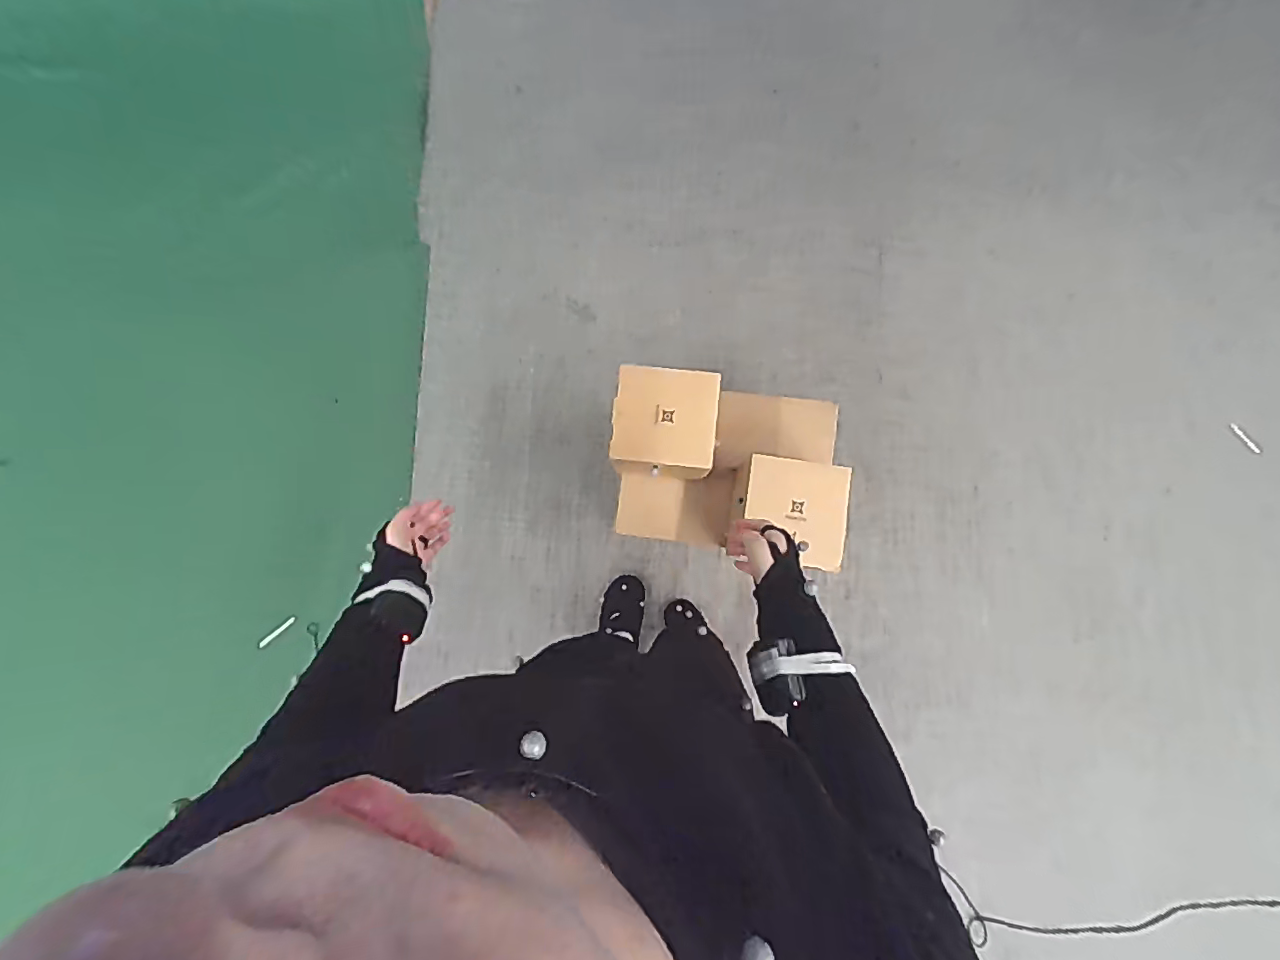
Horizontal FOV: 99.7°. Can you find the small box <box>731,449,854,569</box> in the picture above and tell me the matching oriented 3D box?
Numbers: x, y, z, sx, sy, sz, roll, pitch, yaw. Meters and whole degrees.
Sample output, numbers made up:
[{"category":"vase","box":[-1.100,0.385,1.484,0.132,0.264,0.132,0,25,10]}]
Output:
[{"category":"small box","box":[0.260,0.056,0.957,0.168,0.176,0.179,9,83,4]}]

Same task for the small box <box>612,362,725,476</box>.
[{"category":"small box","box":[0.052,-0.103,0.985,0.179,0.176,0.168,6,83,4]}]
